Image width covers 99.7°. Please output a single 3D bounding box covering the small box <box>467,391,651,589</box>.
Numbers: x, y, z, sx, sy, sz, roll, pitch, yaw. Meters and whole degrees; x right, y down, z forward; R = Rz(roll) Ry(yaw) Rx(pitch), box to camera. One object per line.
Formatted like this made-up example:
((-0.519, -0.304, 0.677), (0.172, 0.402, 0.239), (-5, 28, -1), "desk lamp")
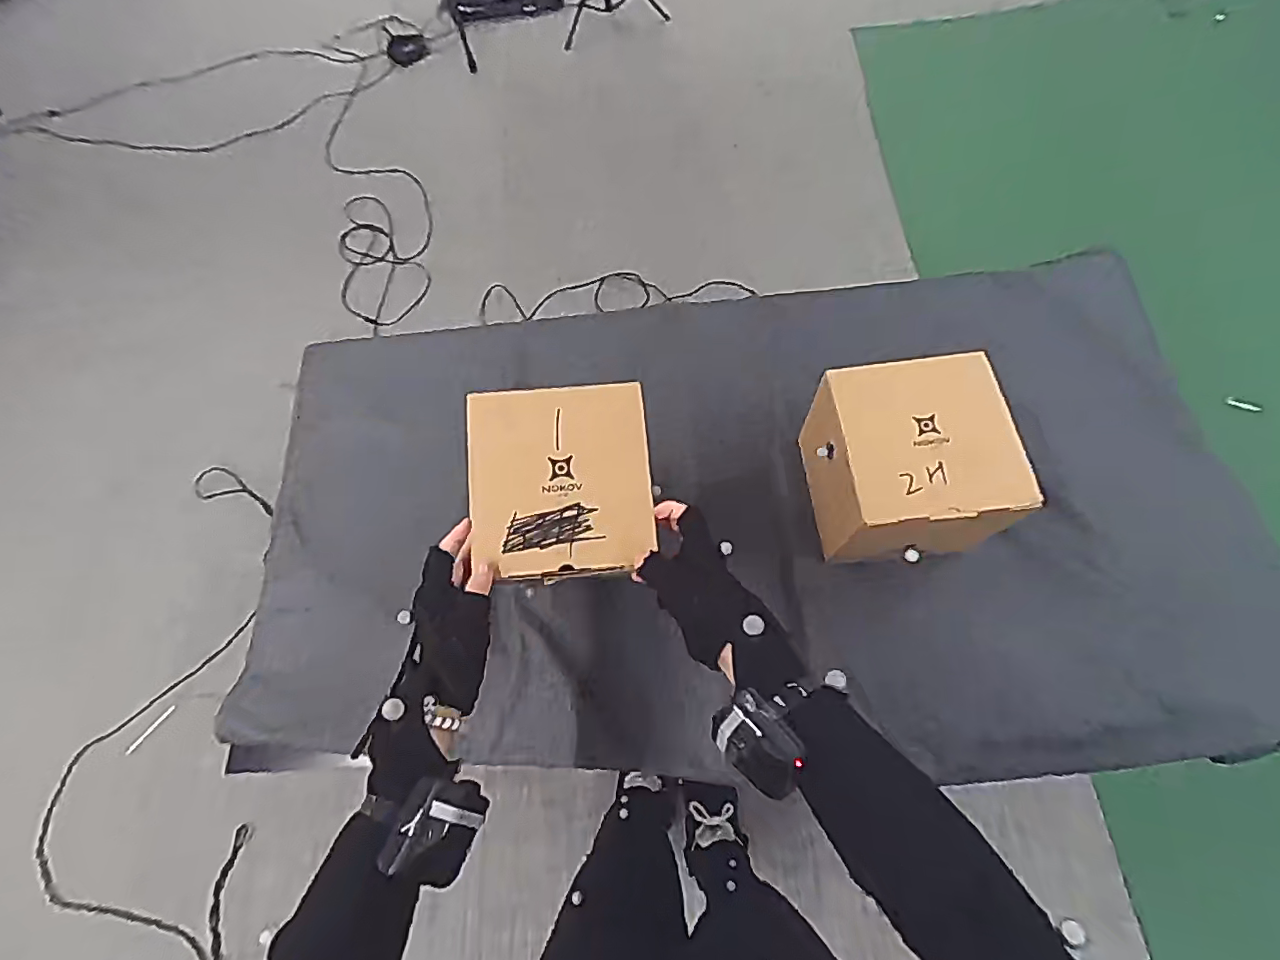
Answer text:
((-0.078, 0.023, 0.574), (0.168, 0.176, 0.179), (-4, 75, -4), "small box")
